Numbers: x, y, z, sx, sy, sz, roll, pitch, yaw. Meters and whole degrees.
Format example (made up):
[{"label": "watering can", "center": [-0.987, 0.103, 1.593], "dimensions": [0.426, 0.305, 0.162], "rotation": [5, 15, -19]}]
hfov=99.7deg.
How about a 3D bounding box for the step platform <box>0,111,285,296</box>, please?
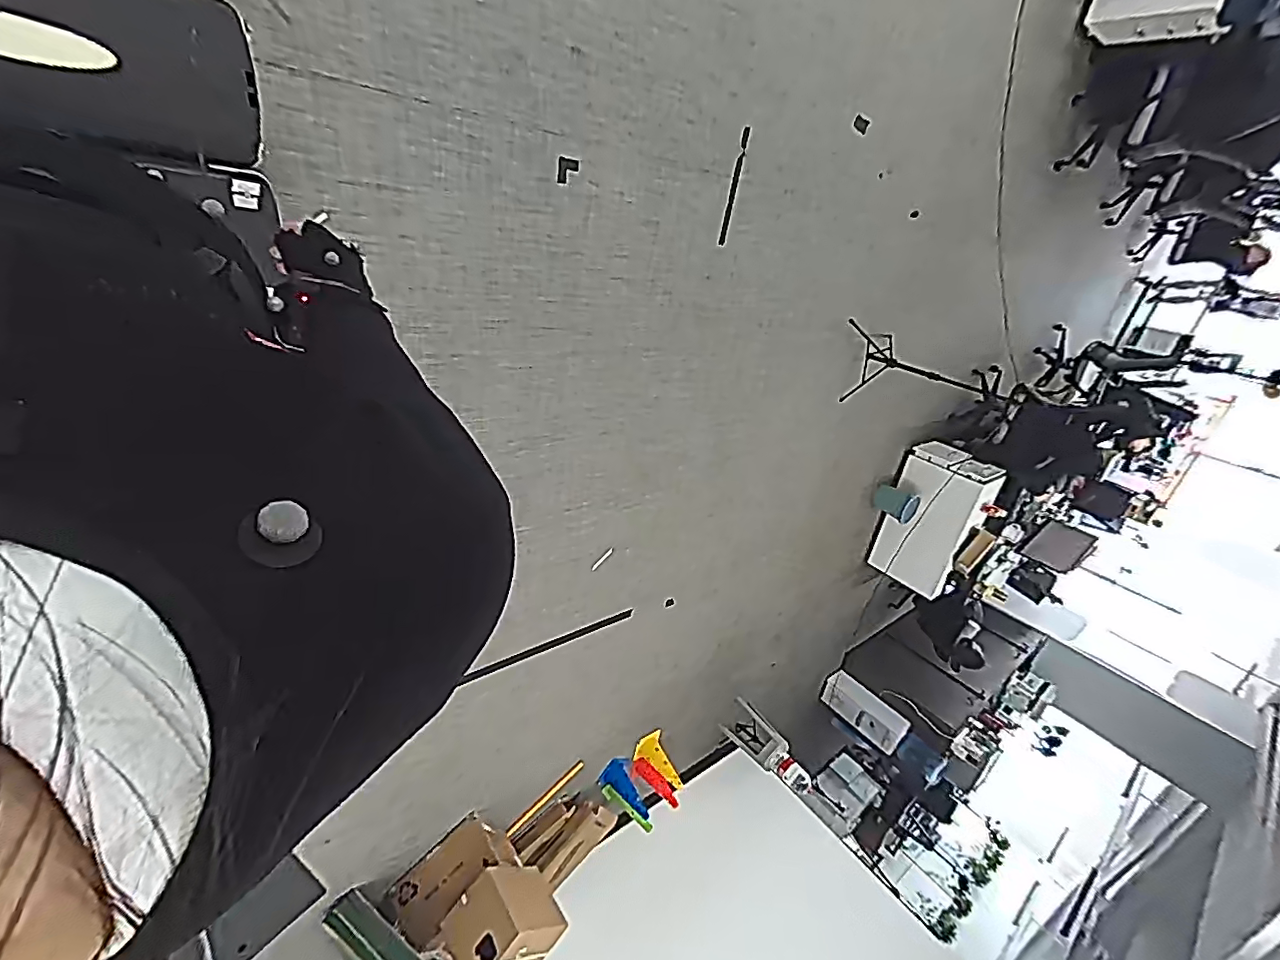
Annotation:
[{"label": "step platform", "center": [-1.064, -0.504, 0.997], "dimensions": [0.684, 0.204, 0.286], "rotation": [-12, 123, -36]}]
